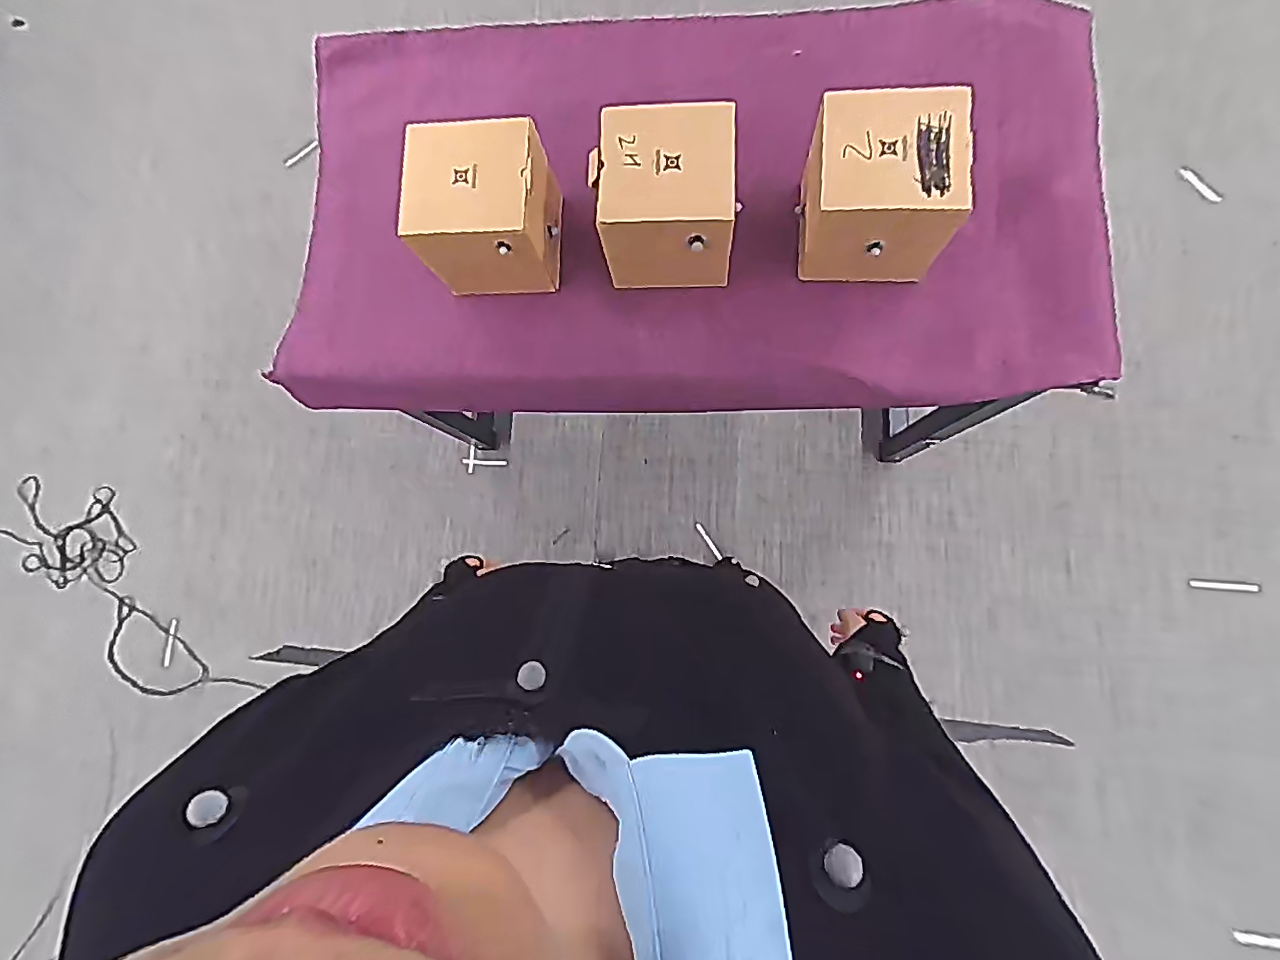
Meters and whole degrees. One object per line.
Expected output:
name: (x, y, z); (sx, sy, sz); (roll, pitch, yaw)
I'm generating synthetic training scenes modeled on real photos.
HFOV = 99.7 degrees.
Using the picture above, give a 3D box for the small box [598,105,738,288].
small box: (0.043, -0.387, 0.764); (0.179, 0.176, 0.168); (1, 81, 6)

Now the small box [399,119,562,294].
small box: (-0.222, -0.387, 0.793); (0.179, 0.176, 0.168); (0, 82, 5)
